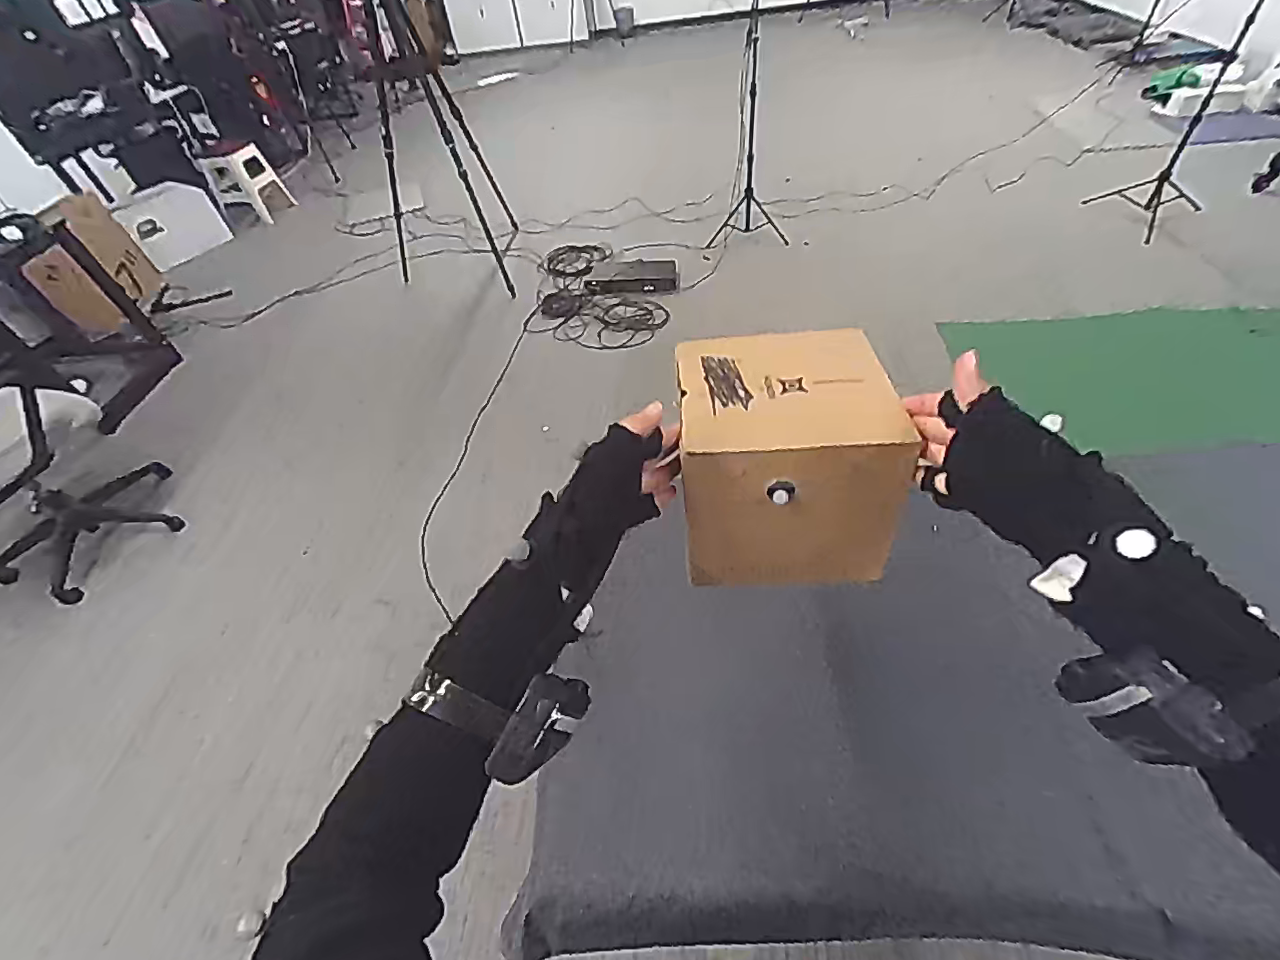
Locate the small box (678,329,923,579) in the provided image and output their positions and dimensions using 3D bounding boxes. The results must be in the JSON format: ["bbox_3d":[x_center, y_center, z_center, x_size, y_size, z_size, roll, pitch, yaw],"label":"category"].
[{"bbox_3d":[0.129,-0.021,0.506,0.179,0.176,0.168,-3,44,5],"label":"small box"}]
